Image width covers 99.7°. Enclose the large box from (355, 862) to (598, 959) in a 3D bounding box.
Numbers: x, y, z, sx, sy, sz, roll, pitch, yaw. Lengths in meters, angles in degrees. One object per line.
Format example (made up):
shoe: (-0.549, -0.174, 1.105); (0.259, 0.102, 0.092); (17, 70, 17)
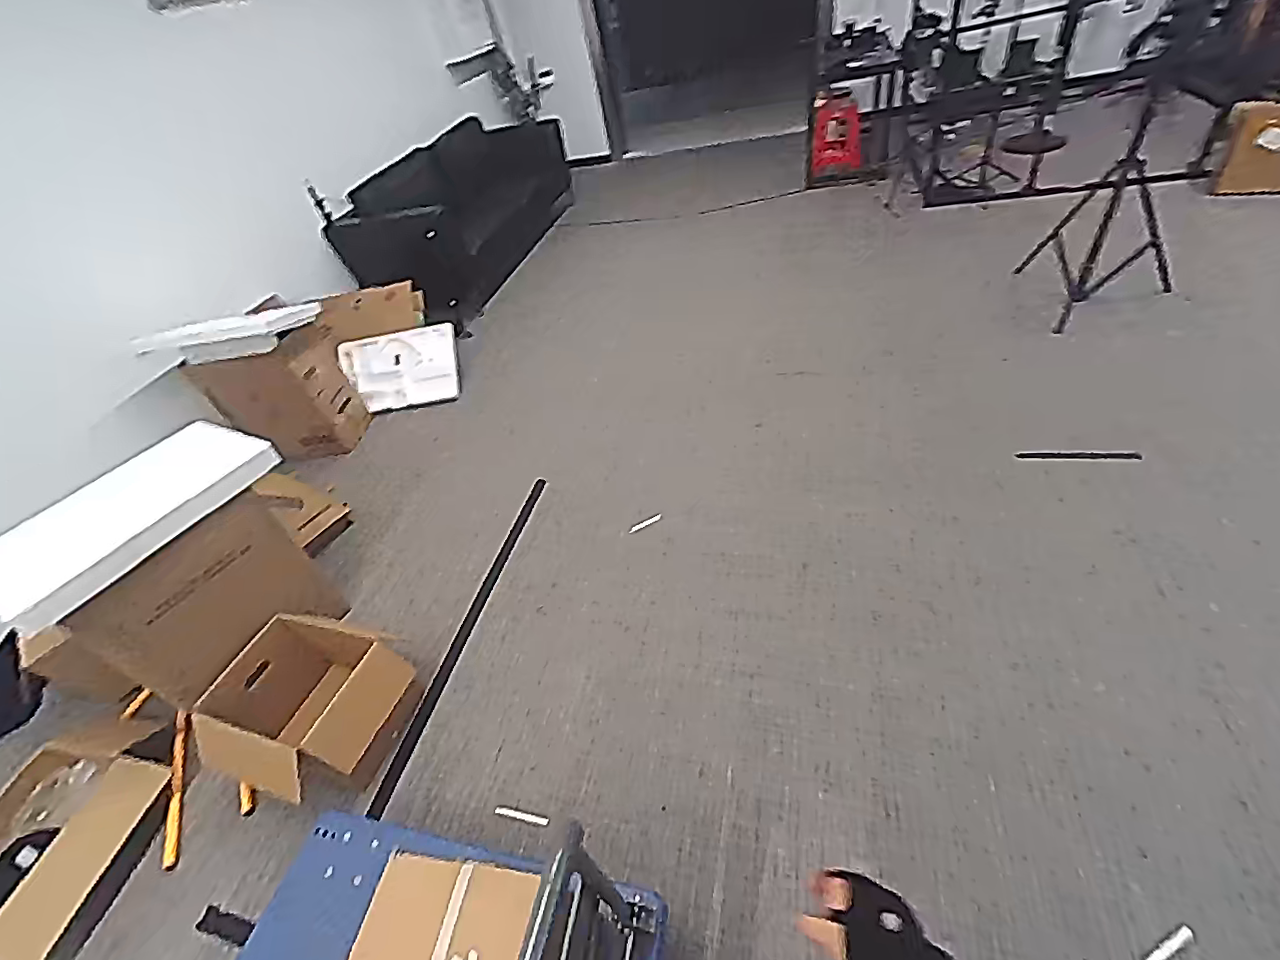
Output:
large box: (-0.283, 0.907, 0.866); (0.320, 0.320, 0.408); (-2, 42, 13)
